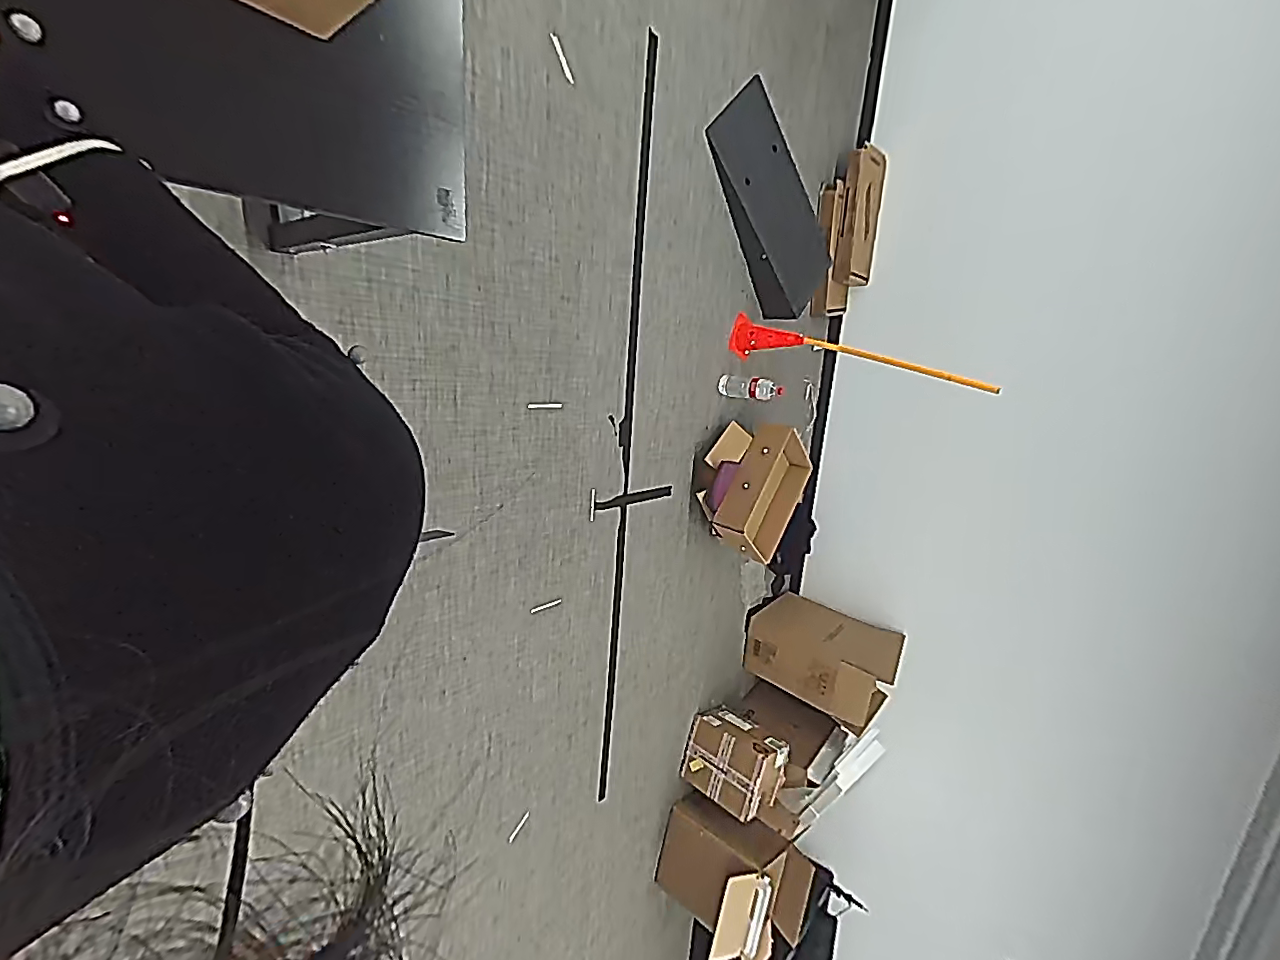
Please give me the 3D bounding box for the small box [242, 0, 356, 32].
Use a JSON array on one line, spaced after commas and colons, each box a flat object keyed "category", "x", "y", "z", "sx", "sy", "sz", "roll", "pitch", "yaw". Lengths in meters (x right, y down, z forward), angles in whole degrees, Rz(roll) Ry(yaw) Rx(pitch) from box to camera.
[{"category": "small box", "x": -0.369, "y": -0.583, "z": 0.521, "sx": 0.179, "sy": 0.176, "sz": 0.168, "roll": -9, "pitch": 108, "yaw": -49}]
